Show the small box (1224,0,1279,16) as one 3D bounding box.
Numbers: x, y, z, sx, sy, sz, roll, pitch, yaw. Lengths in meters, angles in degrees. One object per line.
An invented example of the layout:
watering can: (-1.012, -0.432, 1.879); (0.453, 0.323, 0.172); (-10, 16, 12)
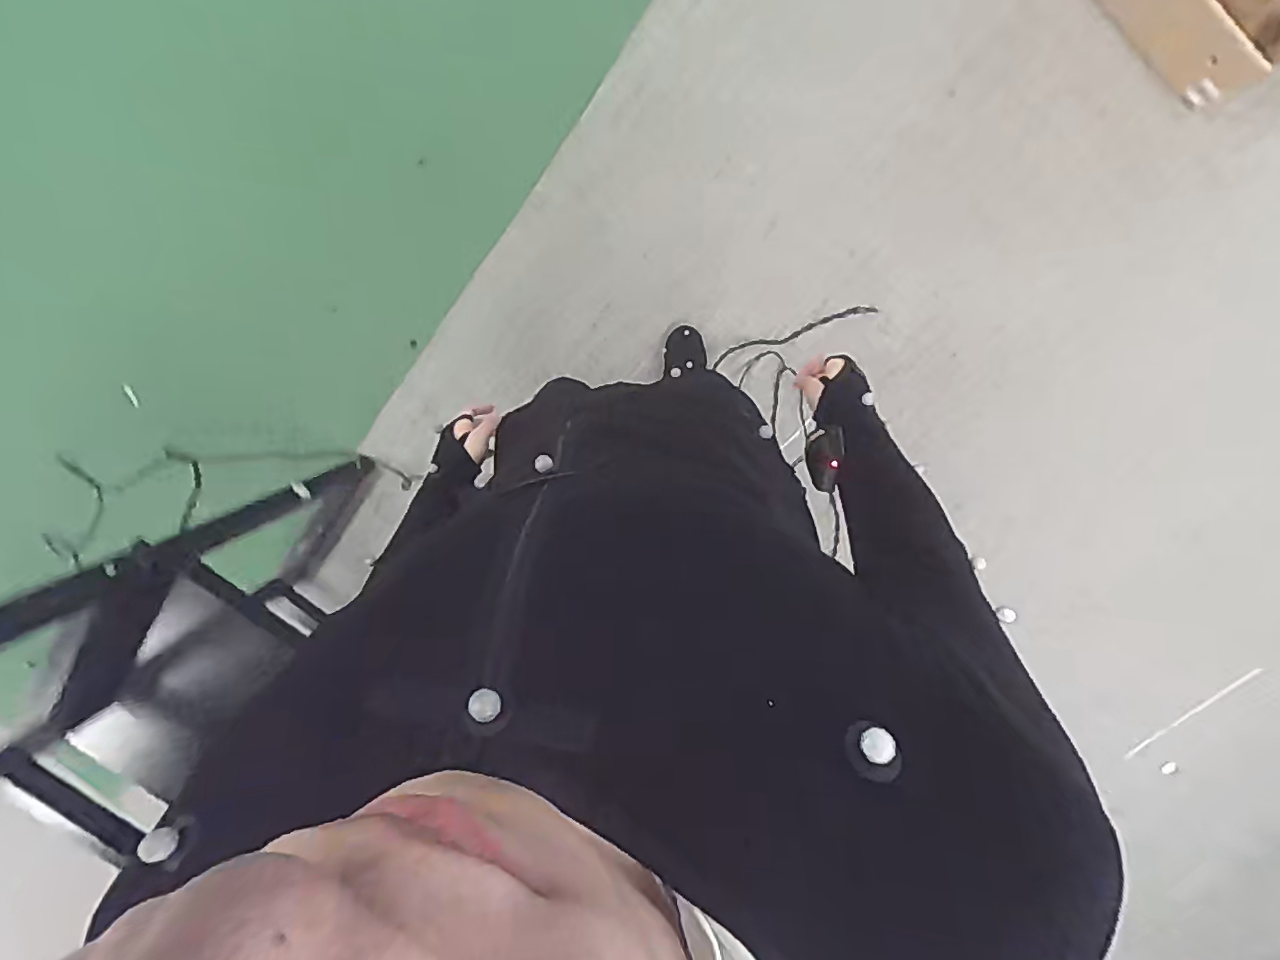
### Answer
small box: (1.263, -1.050, 1.035); (0.179, 0.176, 0.168); (44, 107, -7)
